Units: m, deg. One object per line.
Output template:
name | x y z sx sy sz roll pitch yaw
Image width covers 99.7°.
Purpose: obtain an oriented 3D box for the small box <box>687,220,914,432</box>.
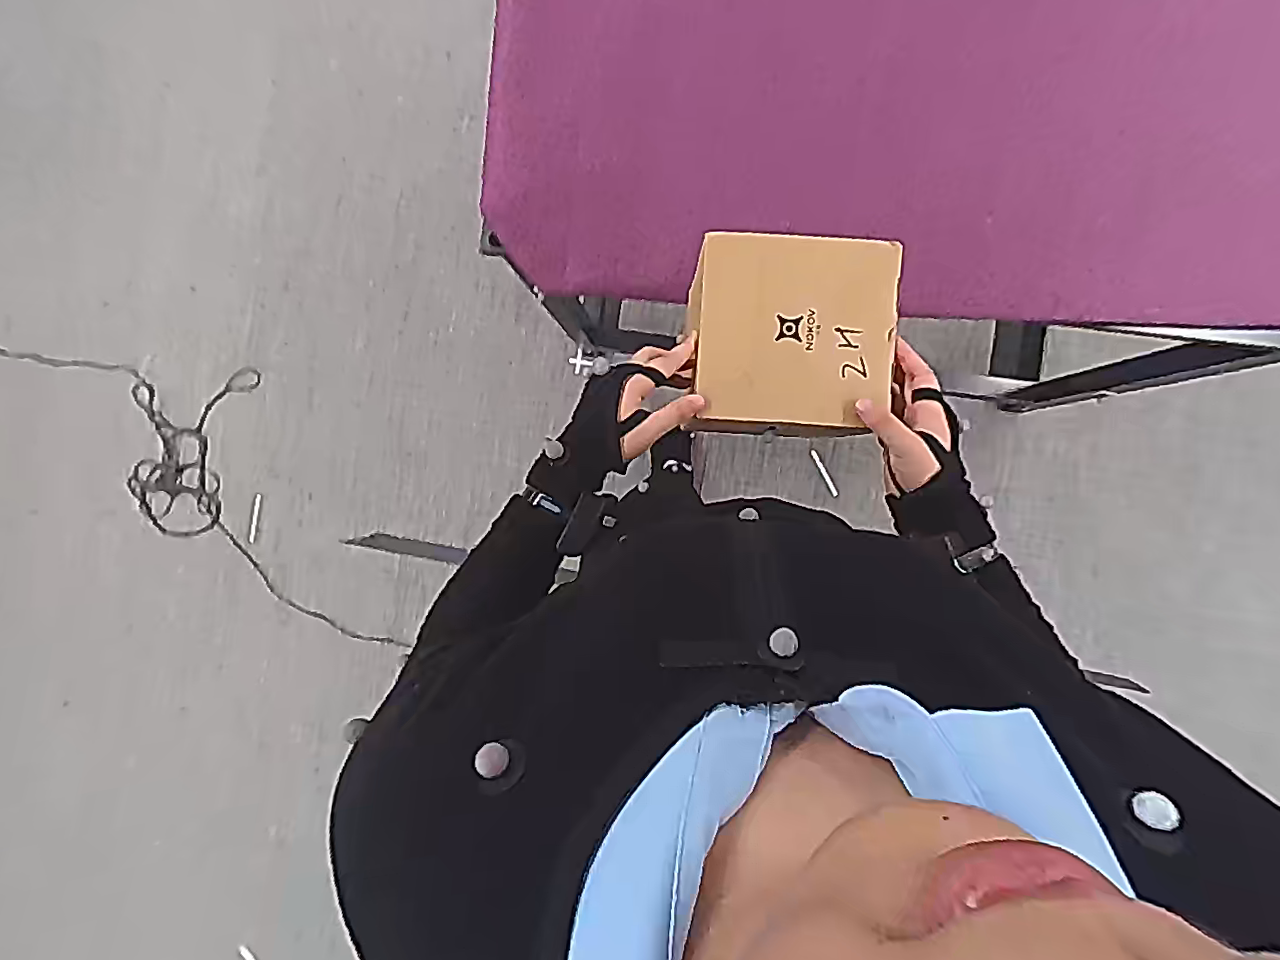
small box | 0.143 -0.139 0.545 0.179 0.176 0.168 4 92 0
